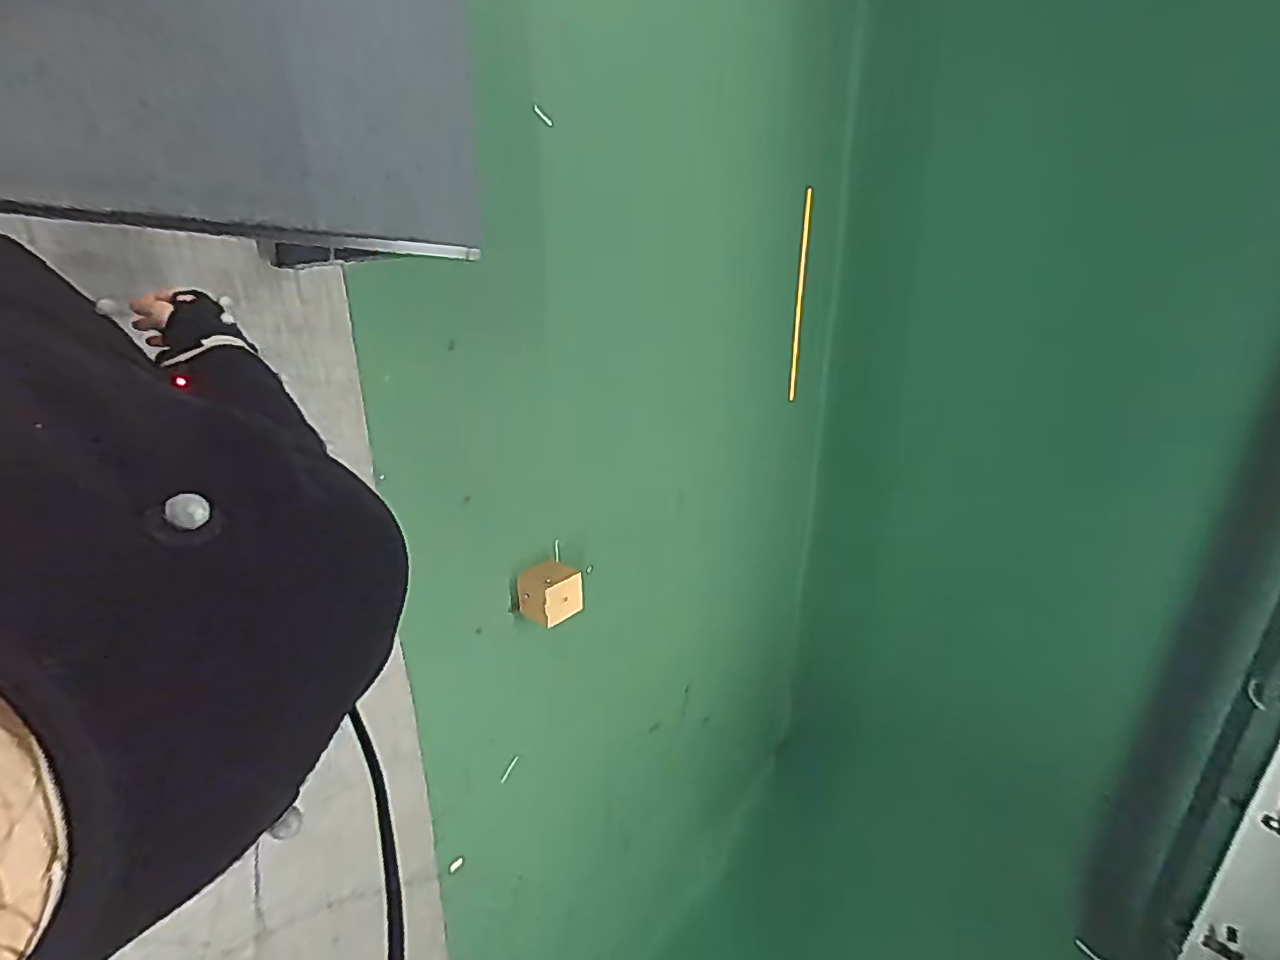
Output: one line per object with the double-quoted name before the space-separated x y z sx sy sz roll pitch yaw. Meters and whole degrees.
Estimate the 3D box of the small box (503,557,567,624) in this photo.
"small box" -0.399 0.413 2.064 0.179 0.176 0.168 -21 119 -46
